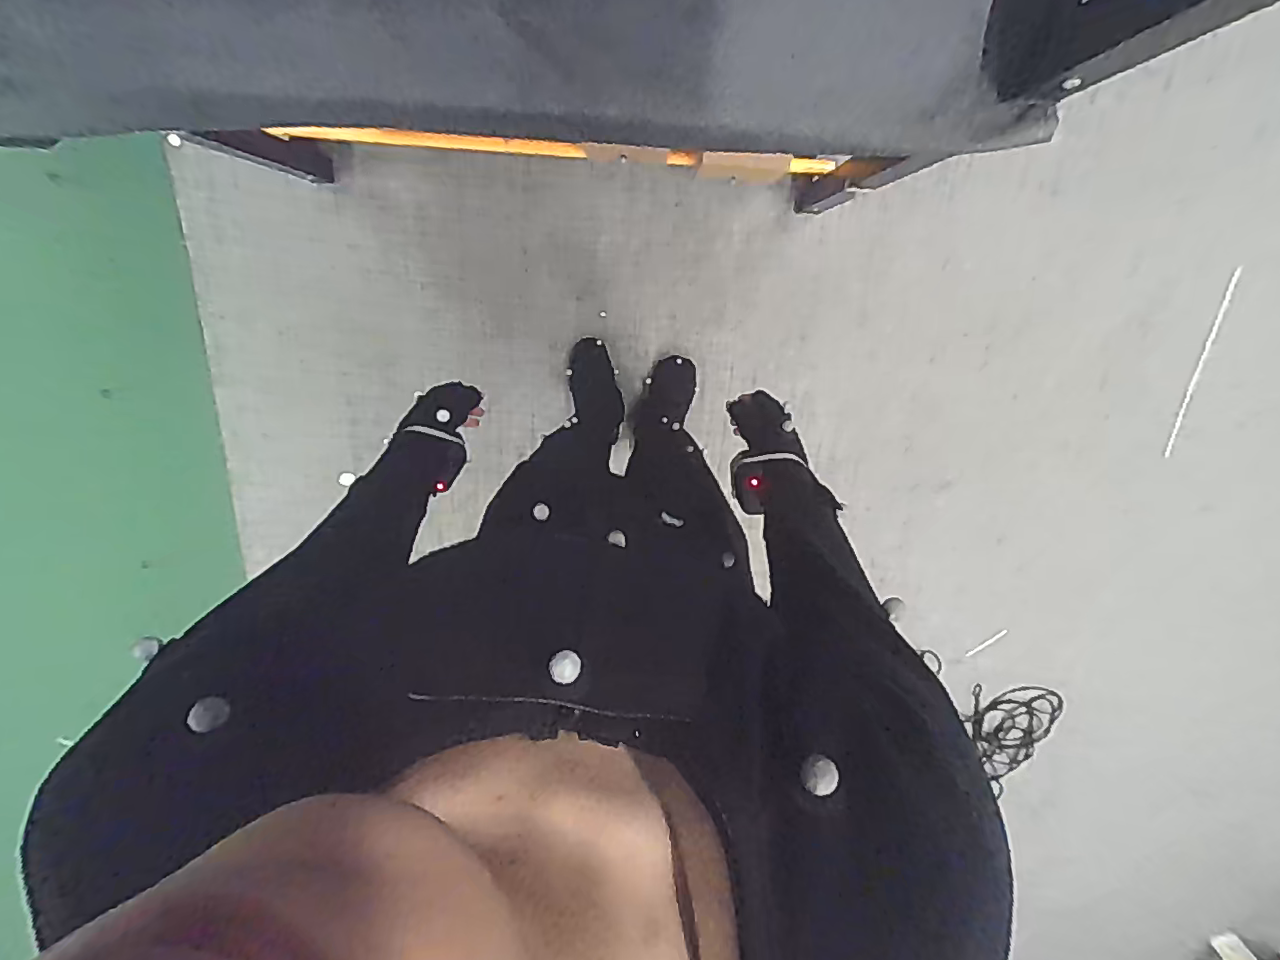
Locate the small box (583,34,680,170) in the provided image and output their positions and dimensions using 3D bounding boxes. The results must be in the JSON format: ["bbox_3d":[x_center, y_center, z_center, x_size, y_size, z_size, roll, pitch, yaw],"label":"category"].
[{"bbox_3d":[-0.016,-0.704,1.029,0.168,0.176,0.179,3,110,-1],"label":"small box"}]
